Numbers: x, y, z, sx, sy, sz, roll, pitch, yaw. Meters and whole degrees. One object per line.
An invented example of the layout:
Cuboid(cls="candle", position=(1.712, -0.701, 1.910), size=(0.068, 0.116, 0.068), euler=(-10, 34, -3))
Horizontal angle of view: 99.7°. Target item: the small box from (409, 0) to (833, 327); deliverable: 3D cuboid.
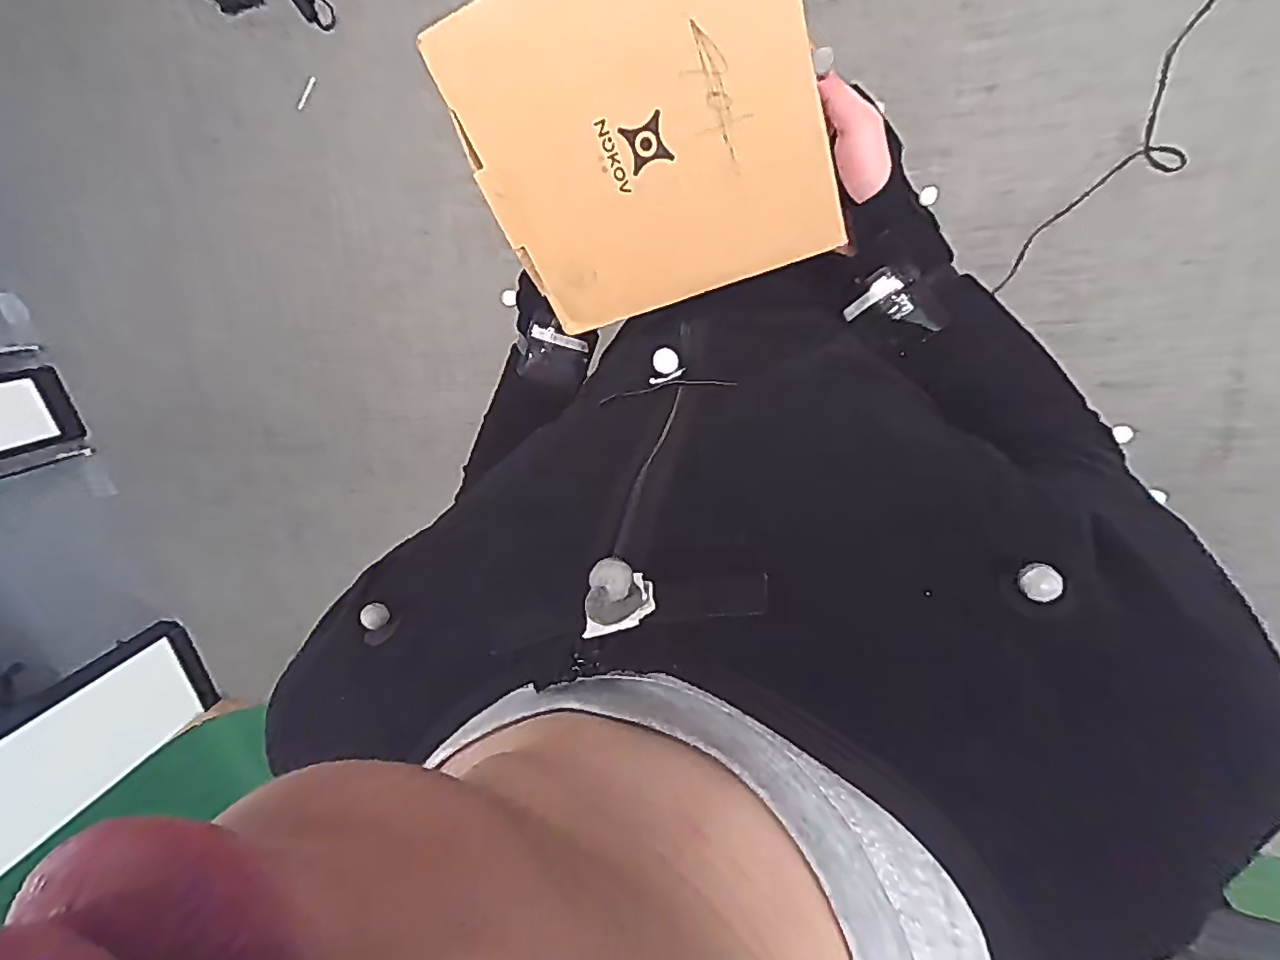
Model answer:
Cuboid(cls="small box", position=(0.008, -0.225, 0.332), size=(0.179, 0.176, 0.168), euler=(-13, 128, 22))
